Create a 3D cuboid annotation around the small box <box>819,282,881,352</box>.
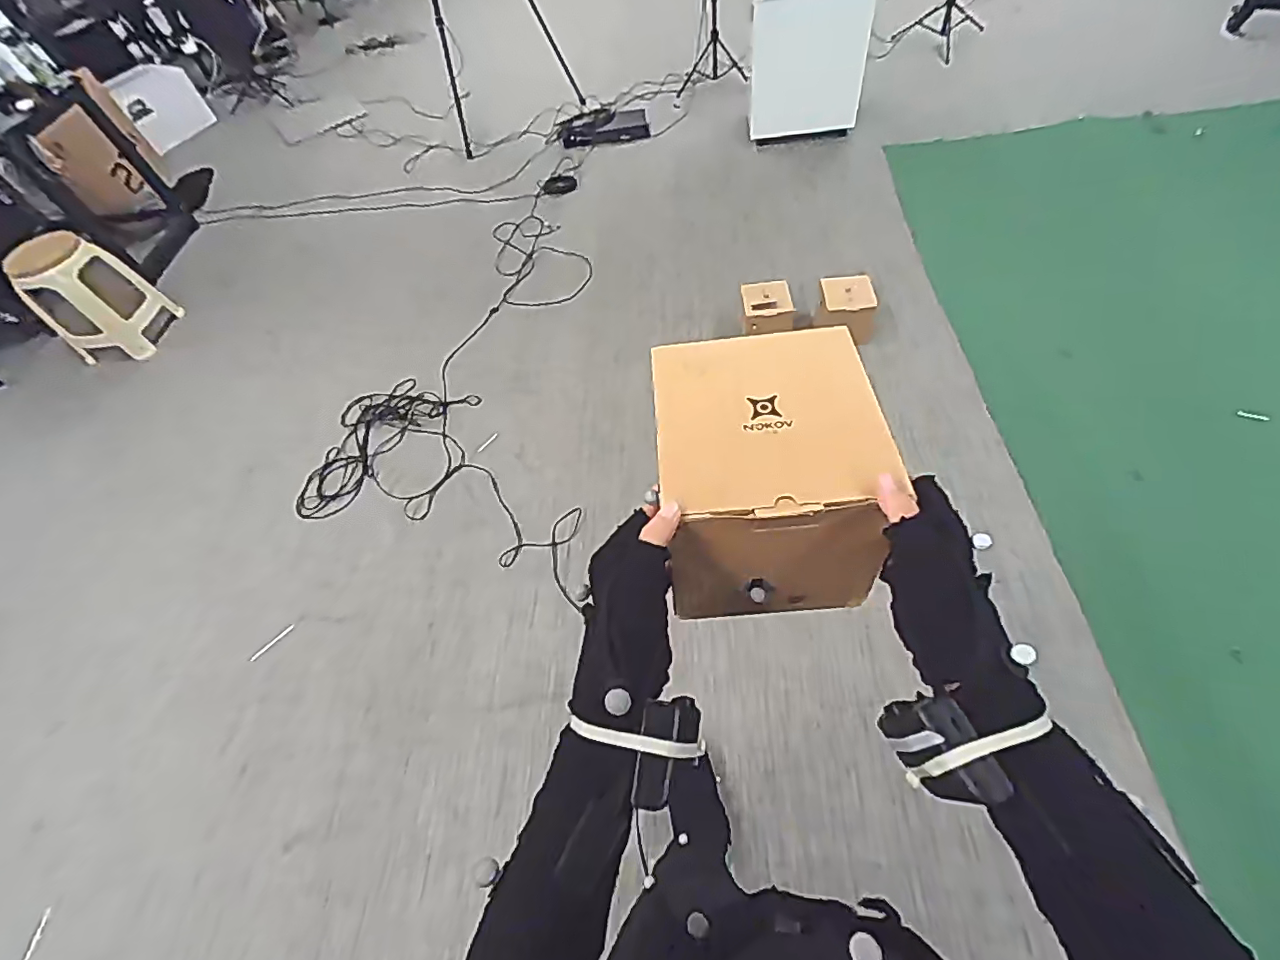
[{"bbox_3d":[0.748,-0.584,1.944,0.168,0.176,0.179,-3,57,8],"label":"small box"}]
